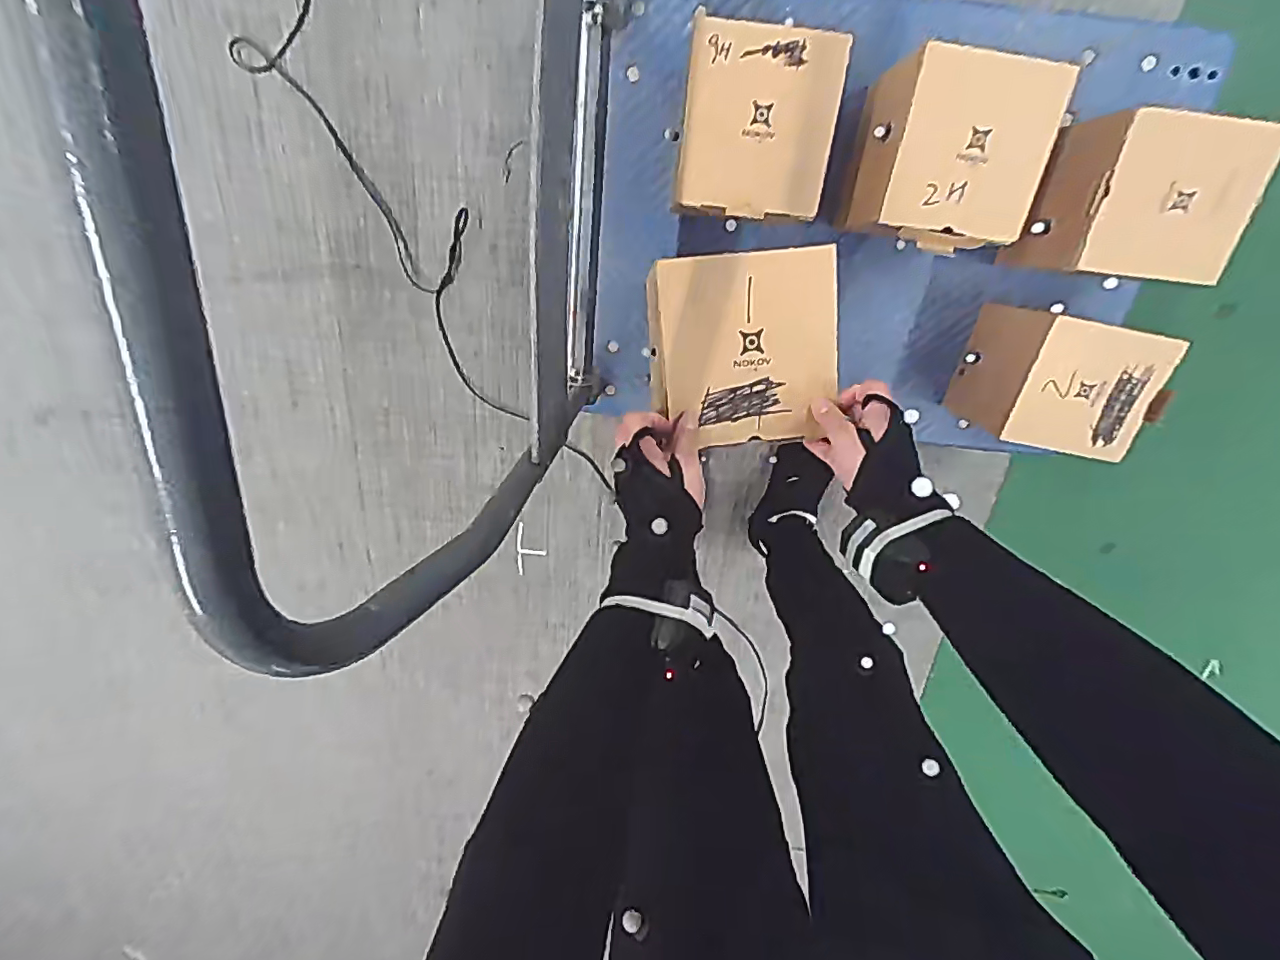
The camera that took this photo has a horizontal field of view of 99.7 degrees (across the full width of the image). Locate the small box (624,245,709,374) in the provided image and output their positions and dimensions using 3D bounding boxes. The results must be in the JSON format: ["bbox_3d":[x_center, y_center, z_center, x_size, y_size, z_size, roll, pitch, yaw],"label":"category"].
[{"bbox_3d":[0.097,-0.206,0.767,0.179,0.176,0.168,34,111,-11],"label":"small box"}]

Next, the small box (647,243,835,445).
[{"bbox_3d":[0.097,-0.140,0.580,0.168,0.176,0.179,-5,101,-2],"label":"small box"}]

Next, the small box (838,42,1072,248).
[{"bbox_3d":[0.367,-0.396,0.673,0.168,0.176,0.179,9,113,-2],"label":"small box"}]
